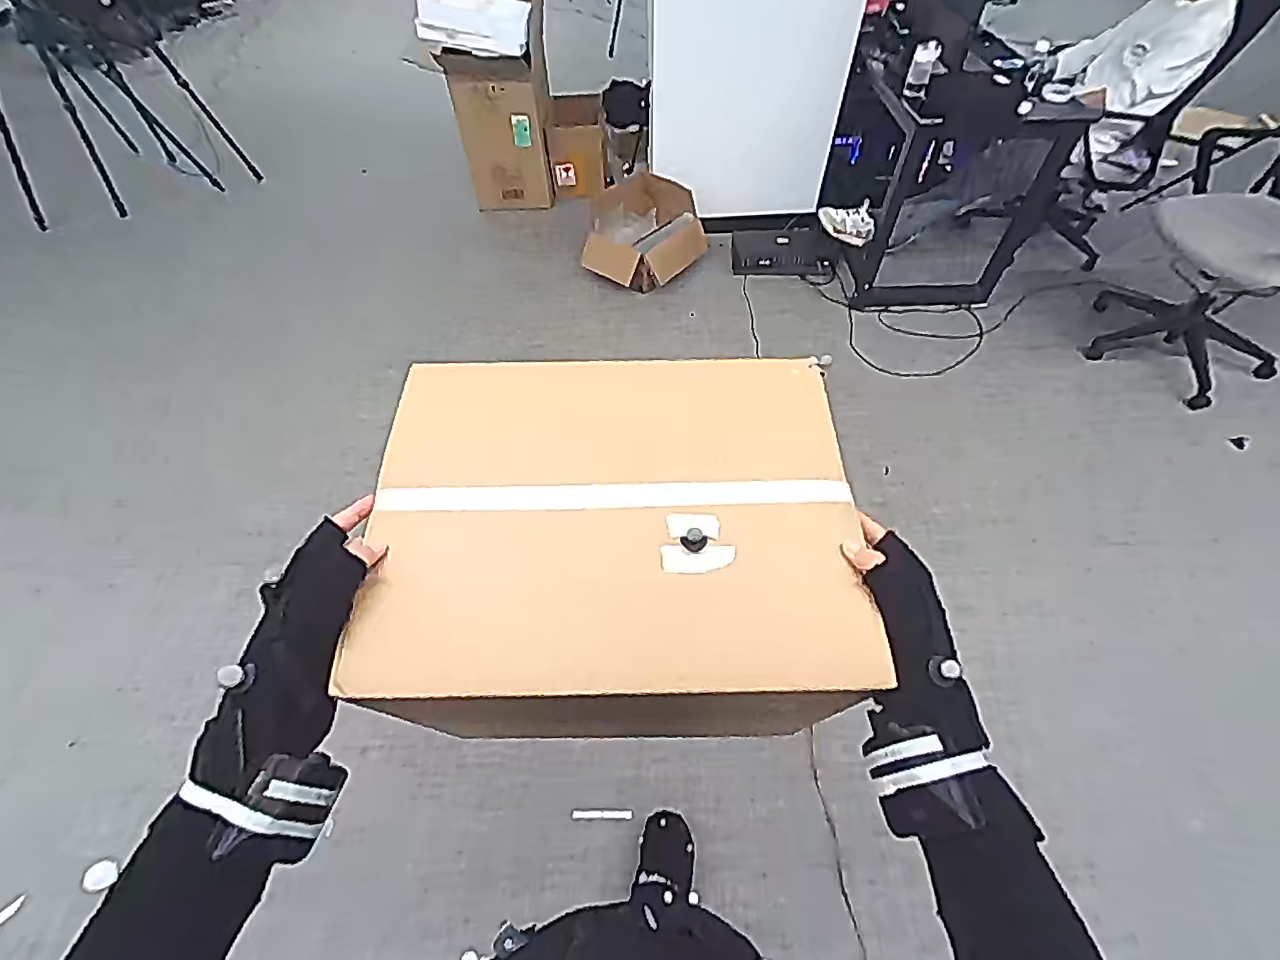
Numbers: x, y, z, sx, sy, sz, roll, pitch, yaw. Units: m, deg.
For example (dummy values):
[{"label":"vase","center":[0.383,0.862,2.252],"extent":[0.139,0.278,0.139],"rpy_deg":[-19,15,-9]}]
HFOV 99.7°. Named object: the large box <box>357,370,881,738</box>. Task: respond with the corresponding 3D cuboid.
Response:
[{"label":"large box","center":[-0.019,0.097,0.607],"extent":[0.408,0.320,0.320],"rpy_deg":[-1,59,0]}]
